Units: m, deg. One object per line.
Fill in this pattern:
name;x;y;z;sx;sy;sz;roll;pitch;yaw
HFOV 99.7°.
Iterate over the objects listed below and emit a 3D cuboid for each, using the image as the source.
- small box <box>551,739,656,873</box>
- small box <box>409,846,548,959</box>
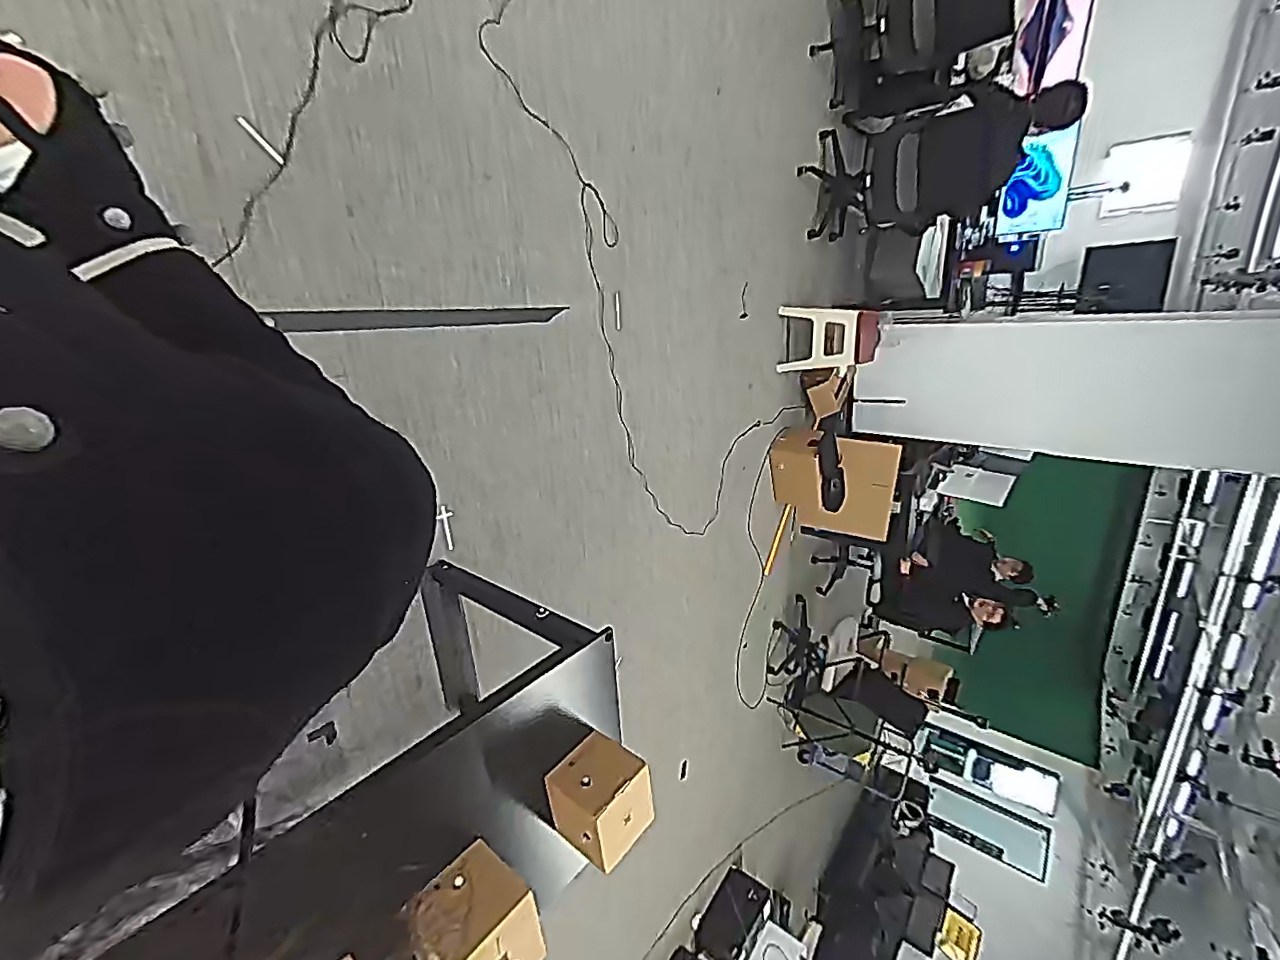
small box;-0.084;0.721;1.225;0.168;0.176;0.179;-28;121;-43
small box;-0.294;0.829;0.991;0.168;0.176;0.179;-25;117;-46
